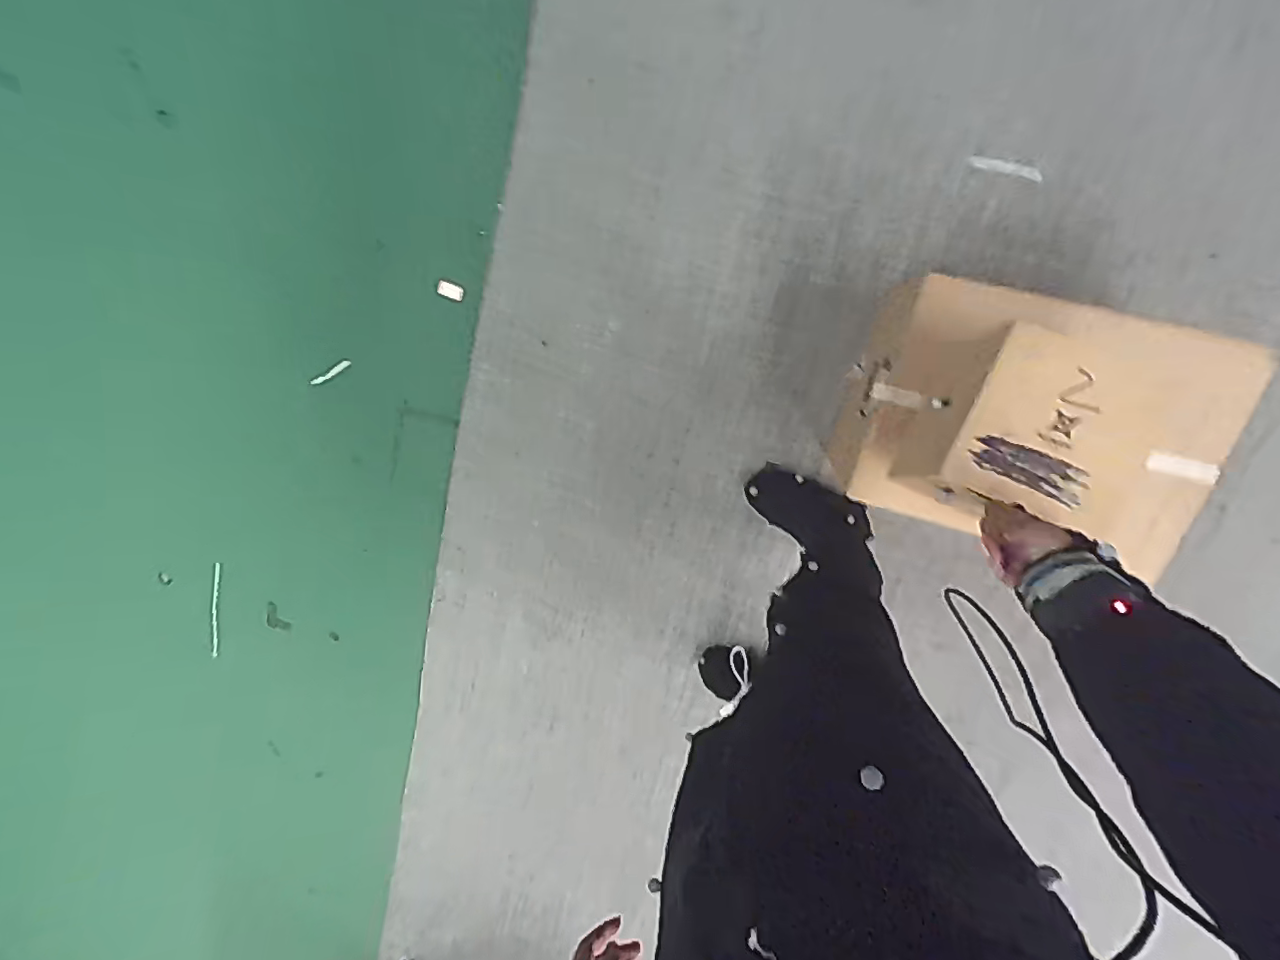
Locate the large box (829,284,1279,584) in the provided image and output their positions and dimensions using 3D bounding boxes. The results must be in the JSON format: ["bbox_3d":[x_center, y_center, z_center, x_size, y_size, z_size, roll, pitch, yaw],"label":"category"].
[{"bbox_3d":[0.552,-0.089,0.835,0.408,0.320,0.320,16,107,9],"label":"large box"}]
